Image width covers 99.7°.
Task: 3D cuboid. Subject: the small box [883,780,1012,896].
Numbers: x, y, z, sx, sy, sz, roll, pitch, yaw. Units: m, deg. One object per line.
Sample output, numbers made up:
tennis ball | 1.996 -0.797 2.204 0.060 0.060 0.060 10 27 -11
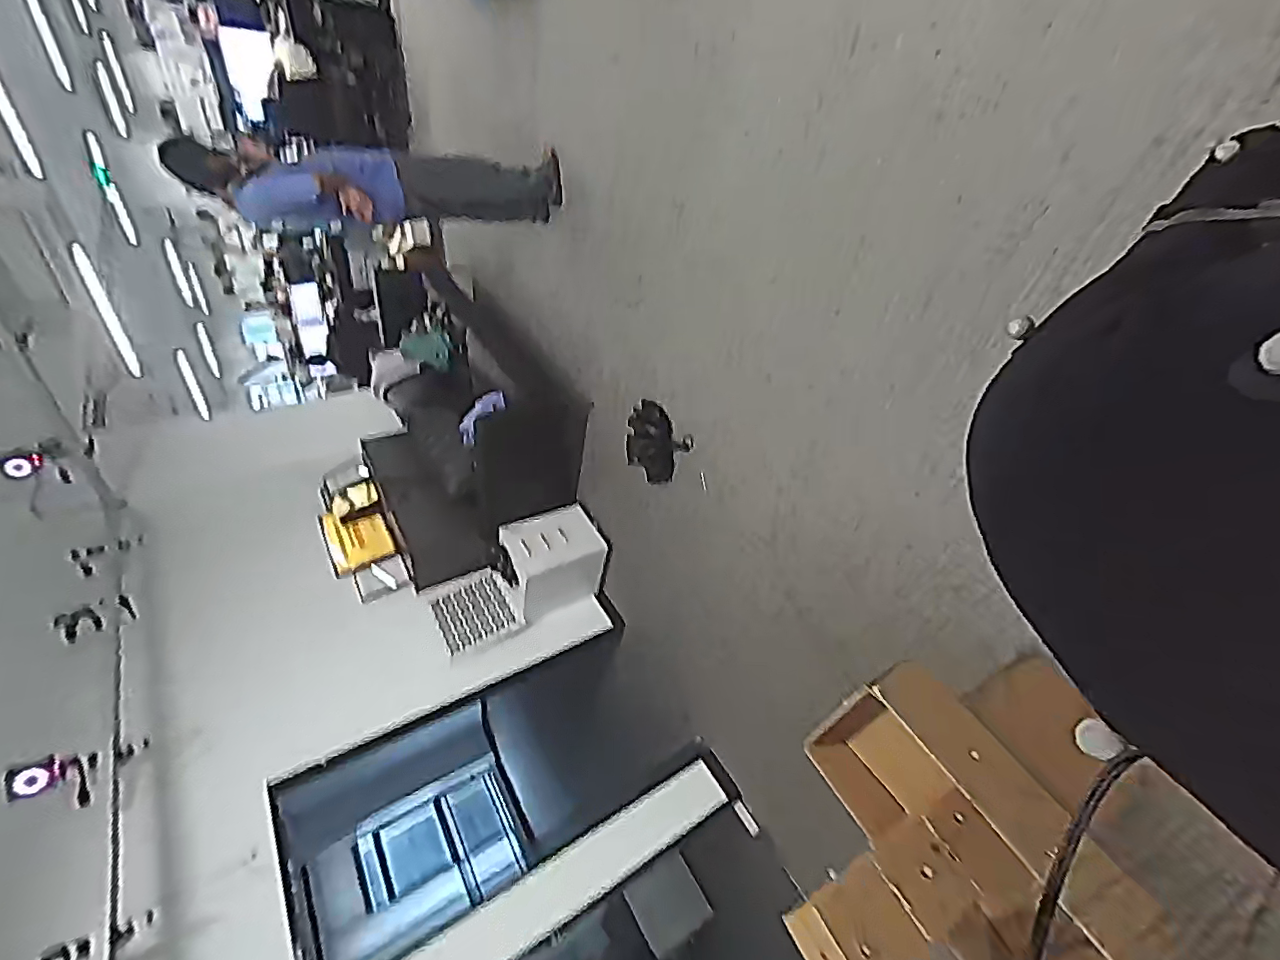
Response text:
small box | 0.710 0.830 1.249 0.168 0.176 0.179 54 147 34

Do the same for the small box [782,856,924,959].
small box | 0.430 0.914 1.098 0.179 0.176 0.168 54 145 35

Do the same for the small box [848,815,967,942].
small box | 0.569 0.872 1.177 0.168 0.176 0.179 52 143 36
